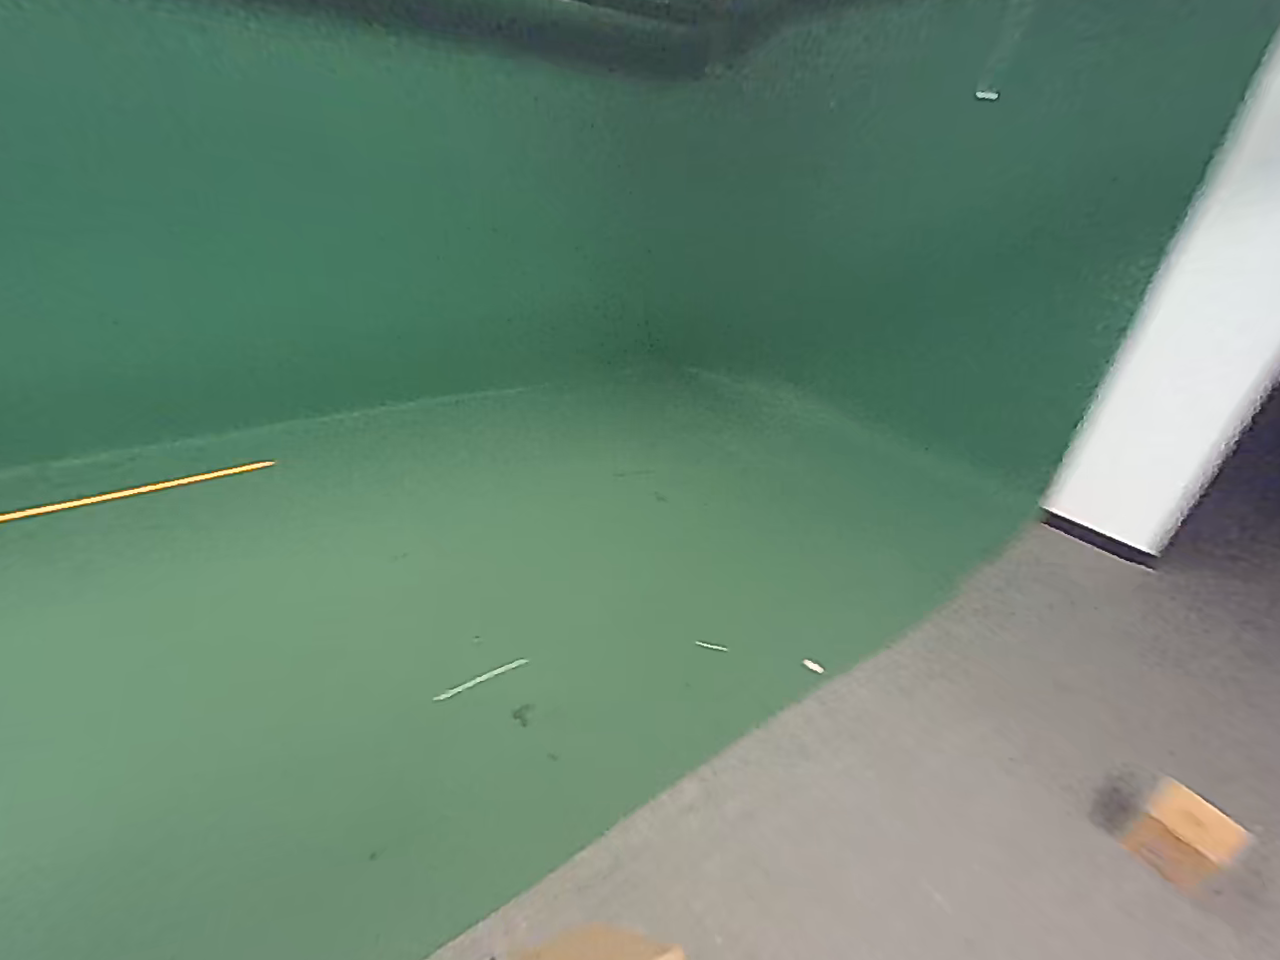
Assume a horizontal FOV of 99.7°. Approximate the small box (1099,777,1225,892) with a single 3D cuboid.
[{"bbox_3d":[1.405,0.958,1.466,0.179,0.176,0.168,-14,35,-27],"label":"small box"}]
